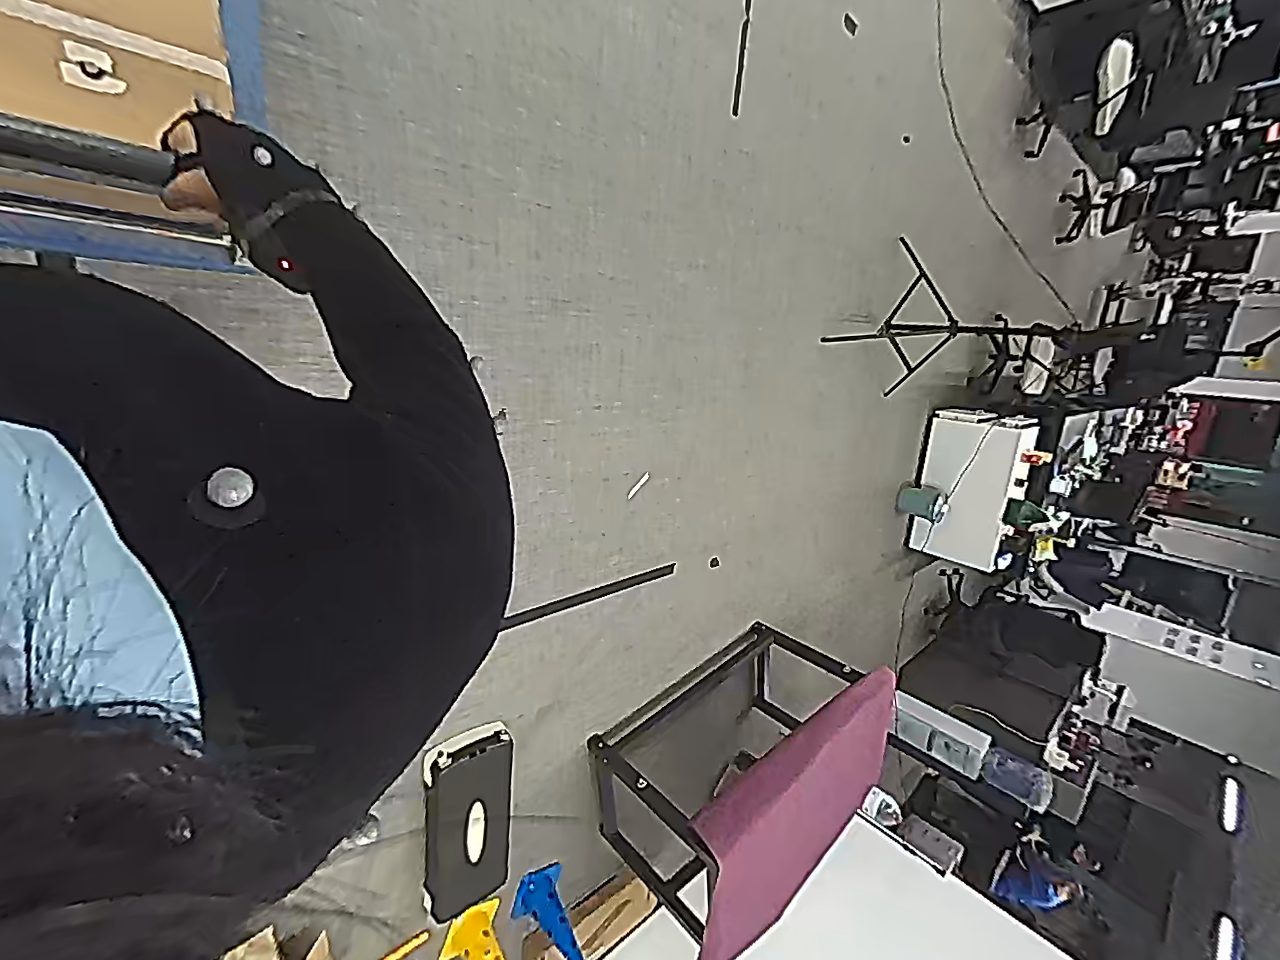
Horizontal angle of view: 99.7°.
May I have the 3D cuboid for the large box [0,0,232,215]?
[{"bbox_3d":[-0.835,-0.584,0.730,0.408,0.320,0.320,-8,108,-42],"label":"large box"}]
